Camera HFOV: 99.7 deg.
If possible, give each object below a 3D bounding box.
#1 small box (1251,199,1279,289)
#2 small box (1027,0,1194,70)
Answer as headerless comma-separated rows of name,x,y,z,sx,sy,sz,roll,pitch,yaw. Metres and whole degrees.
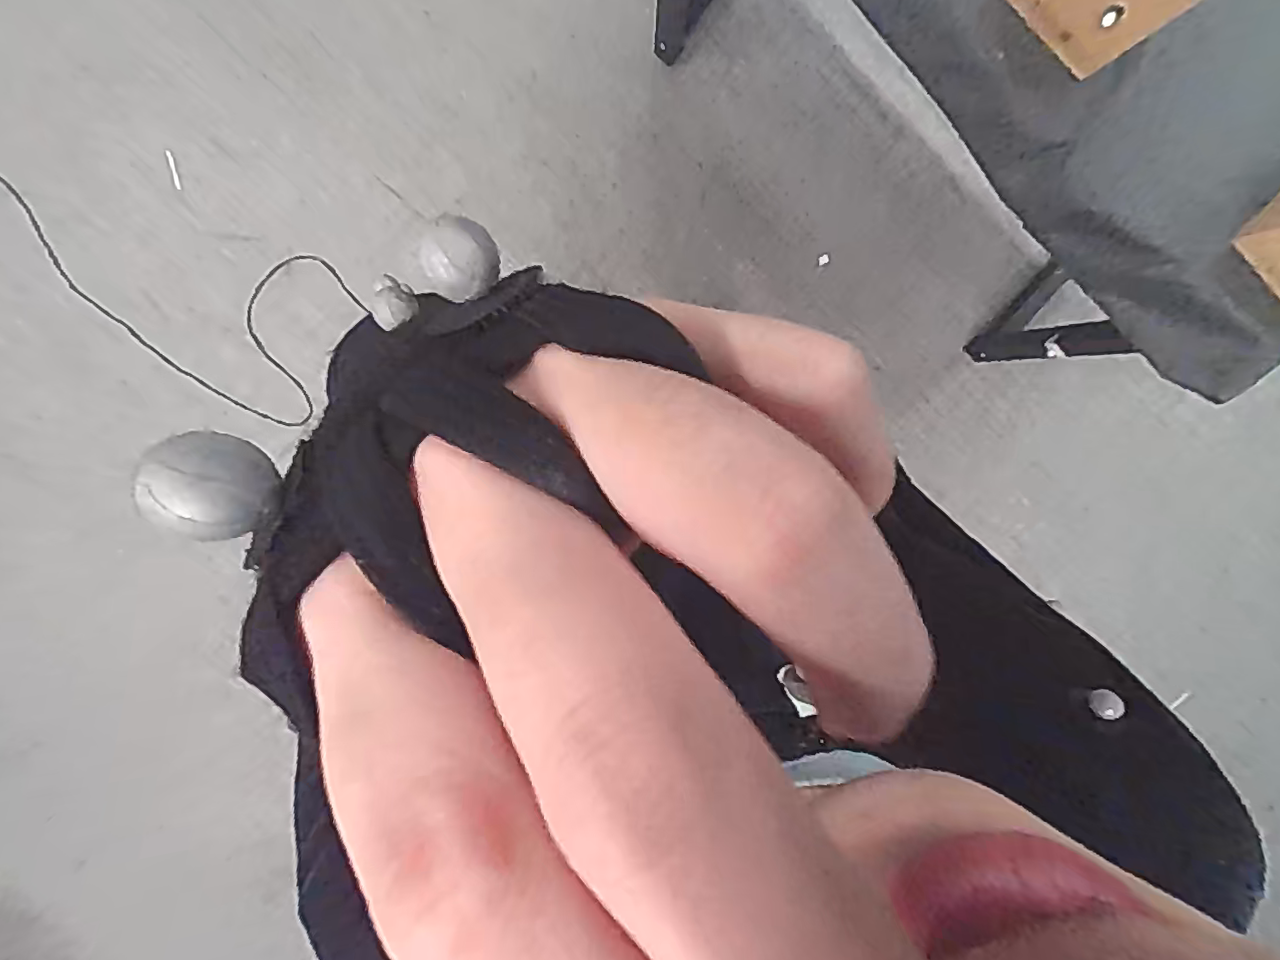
small box,0.936,-0.322,0.665,0.168,0.176,0.179,44,97,-6
small box,0.578,-0.626,0.608,0.168,0.176,0.179,40,96,-9
